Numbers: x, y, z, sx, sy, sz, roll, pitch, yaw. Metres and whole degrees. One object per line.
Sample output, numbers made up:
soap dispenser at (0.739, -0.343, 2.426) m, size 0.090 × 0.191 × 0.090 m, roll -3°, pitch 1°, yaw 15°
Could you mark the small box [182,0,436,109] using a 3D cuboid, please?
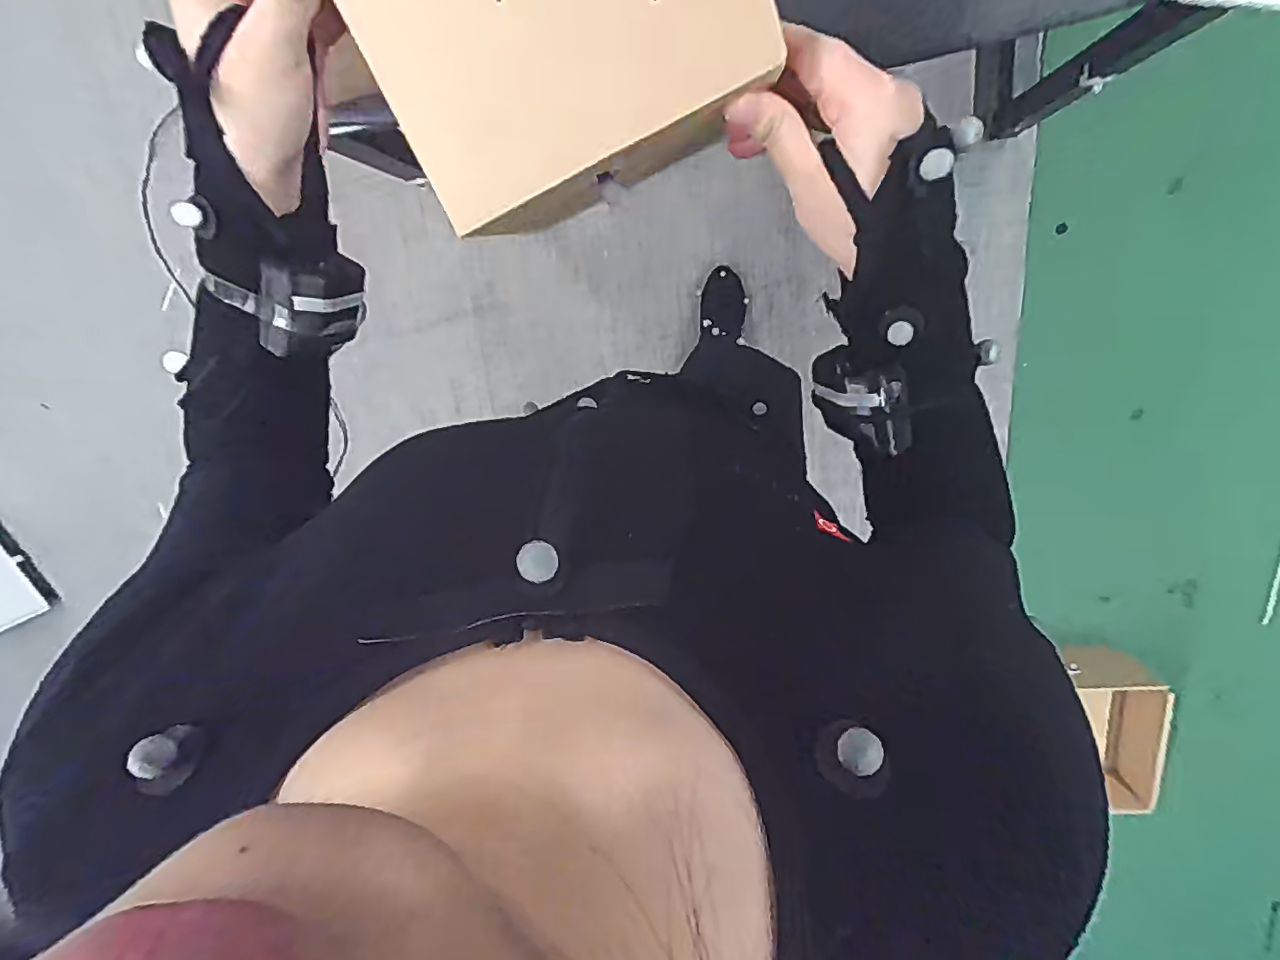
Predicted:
small box at (-0.336, -0.516, 0.542) m, size 0.168 × 0.176 × 0.179 m, roll -9°, pitch 106°, yaw 10°
